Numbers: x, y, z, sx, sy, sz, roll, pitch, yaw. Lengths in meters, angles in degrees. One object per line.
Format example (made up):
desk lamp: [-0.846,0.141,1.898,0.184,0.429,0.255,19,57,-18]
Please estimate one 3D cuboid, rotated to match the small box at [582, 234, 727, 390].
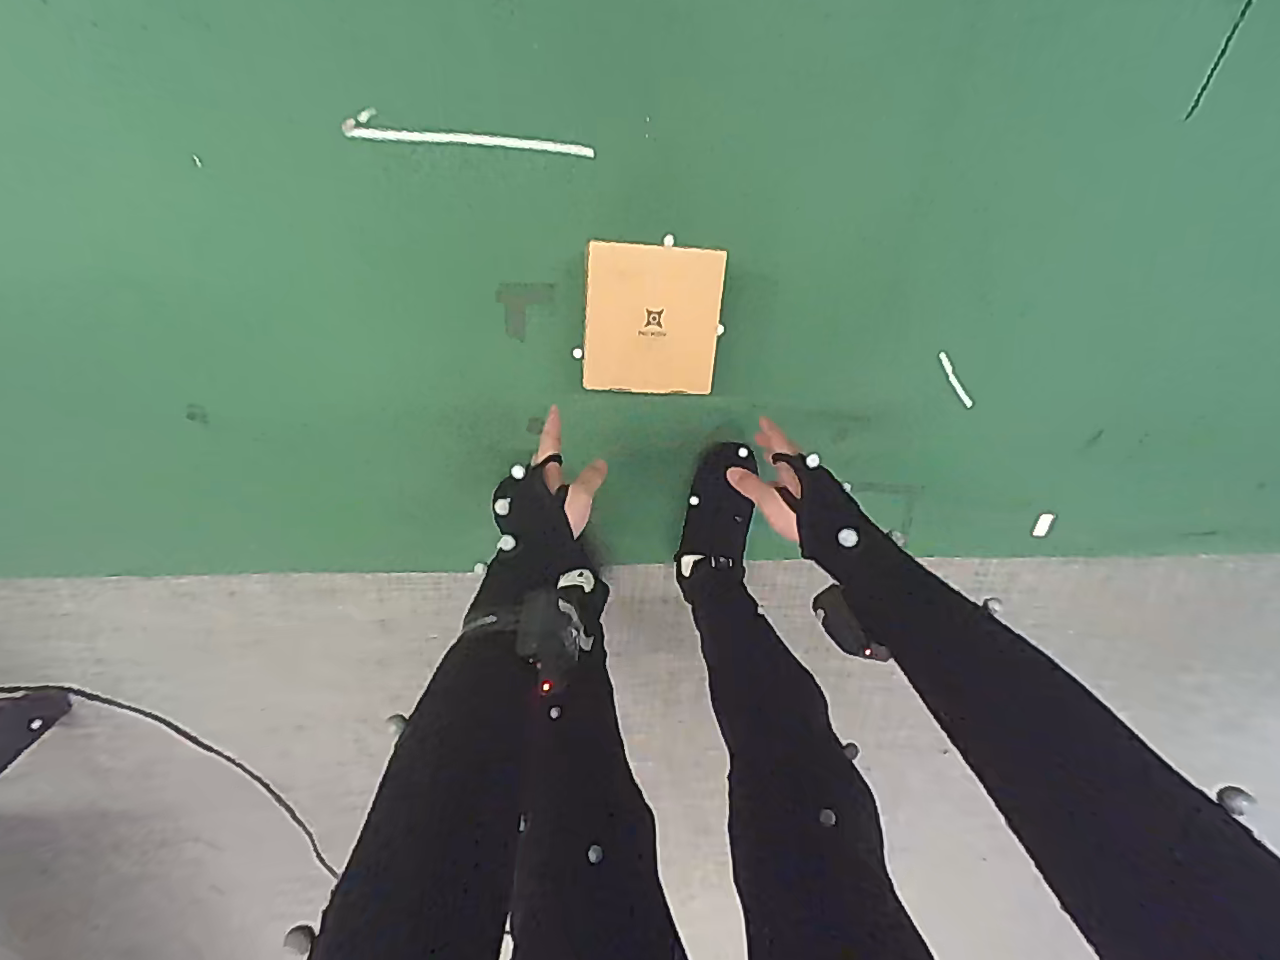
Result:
small box: [0.008,-0.231,0.733,0.168,0.176,0.179,2,114,-7]
